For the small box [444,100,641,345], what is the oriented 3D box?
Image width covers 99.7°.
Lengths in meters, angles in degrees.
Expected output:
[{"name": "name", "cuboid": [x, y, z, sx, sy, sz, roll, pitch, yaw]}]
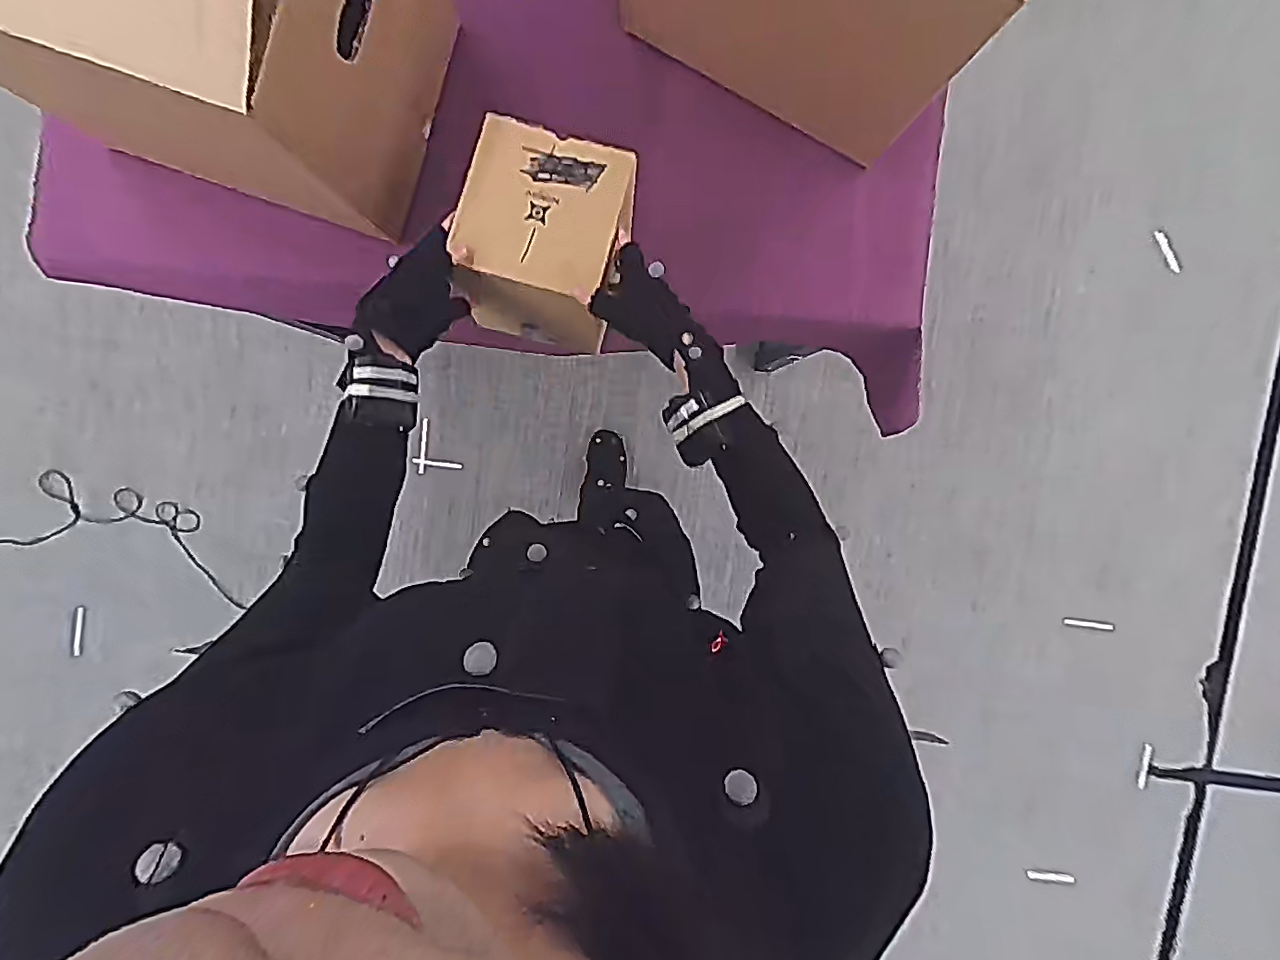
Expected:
[{"name": "small box", "cuboid": [-0.104, -0.285, 0.635, 0.168, 0.176, 0.179, 15, 84, -1]}]
